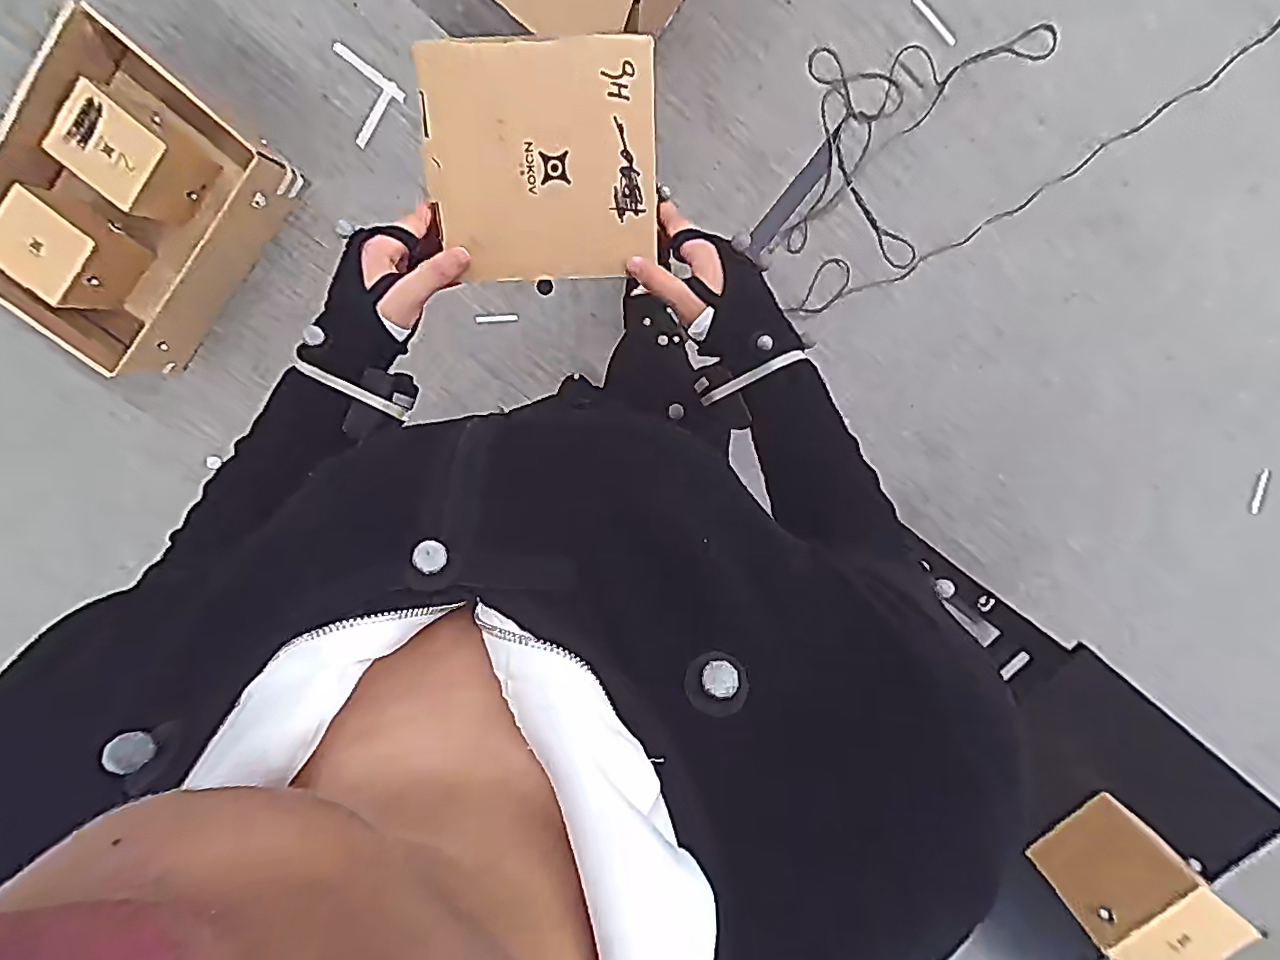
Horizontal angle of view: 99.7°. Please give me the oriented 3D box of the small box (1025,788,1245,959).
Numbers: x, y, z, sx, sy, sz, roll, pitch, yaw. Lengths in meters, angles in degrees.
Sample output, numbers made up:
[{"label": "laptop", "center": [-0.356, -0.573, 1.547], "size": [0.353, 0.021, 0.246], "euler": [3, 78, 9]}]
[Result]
[{"label": "small box", "center": [0.804, 0.662, 0.899], "size": [0.168, 0.176, 0.179], "euler": [38, 102, -12]}]

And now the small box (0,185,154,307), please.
[{"label": "small box", "center": [-1.237, -0.499, 1.184], "size": [0.168, 0.176, 0.179], "euler": [41, 99, -15]}]

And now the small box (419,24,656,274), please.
[{"label": "small box", "center": [-0.076, -0.281, 0.497], "size": [0.179, 0.176, 0.168], "euler": [-2, 110, -1]}]
